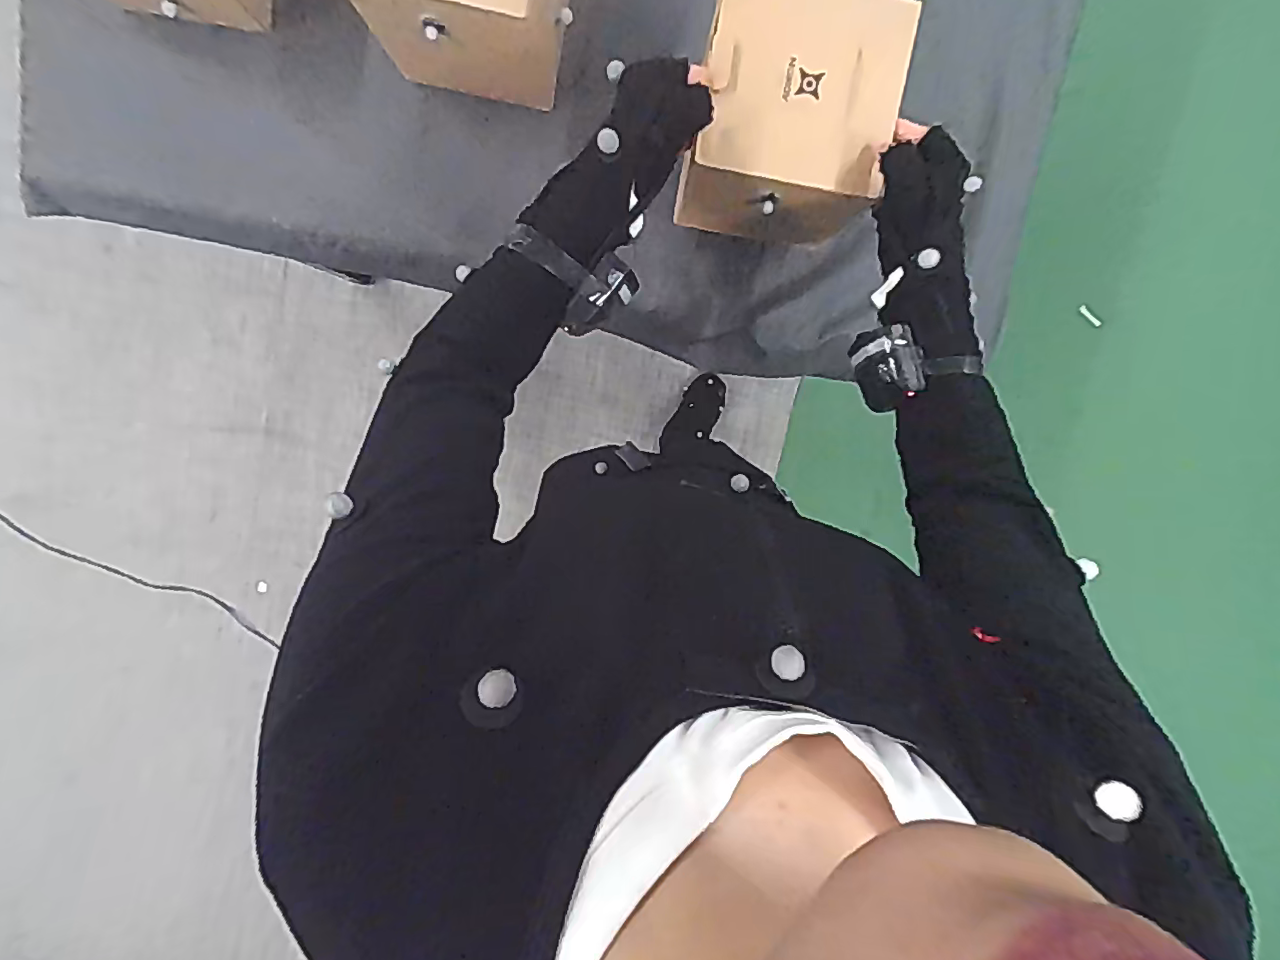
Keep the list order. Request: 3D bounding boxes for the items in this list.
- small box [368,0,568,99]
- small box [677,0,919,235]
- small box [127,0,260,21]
[{"bbox_3d":[-0.175,-0.528,0.549,0.179,0.176,0.168,10,100,-4],"label":"small box"},{"bbox_3d":[0.140,-0.368,0.551,0.179,0.176,0.168,9,99,-4],"label":"small box"},{"bbox_3d":[-0.500,-0.601,0.529,0.179,0.176,0.168,8,100,-3],"label":"small box"}]
